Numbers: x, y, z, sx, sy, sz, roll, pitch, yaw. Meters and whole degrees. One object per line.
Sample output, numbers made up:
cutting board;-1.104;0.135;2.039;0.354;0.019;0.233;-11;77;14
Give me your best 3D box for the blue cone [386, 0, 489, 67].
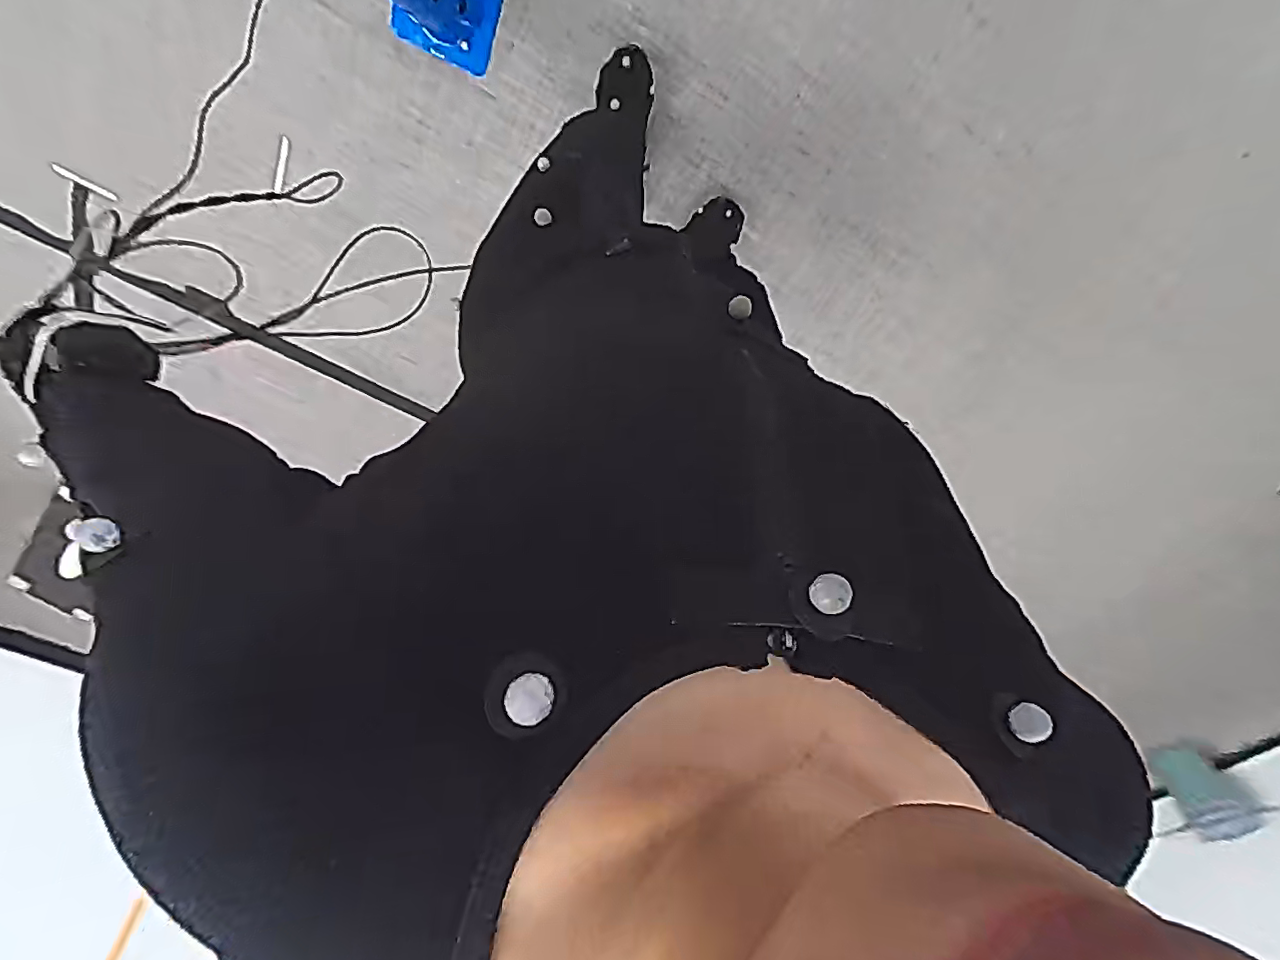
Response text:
blue cone;-0.398;-0.851;0.912;0.192;0.380;0.193;23;122;-11
